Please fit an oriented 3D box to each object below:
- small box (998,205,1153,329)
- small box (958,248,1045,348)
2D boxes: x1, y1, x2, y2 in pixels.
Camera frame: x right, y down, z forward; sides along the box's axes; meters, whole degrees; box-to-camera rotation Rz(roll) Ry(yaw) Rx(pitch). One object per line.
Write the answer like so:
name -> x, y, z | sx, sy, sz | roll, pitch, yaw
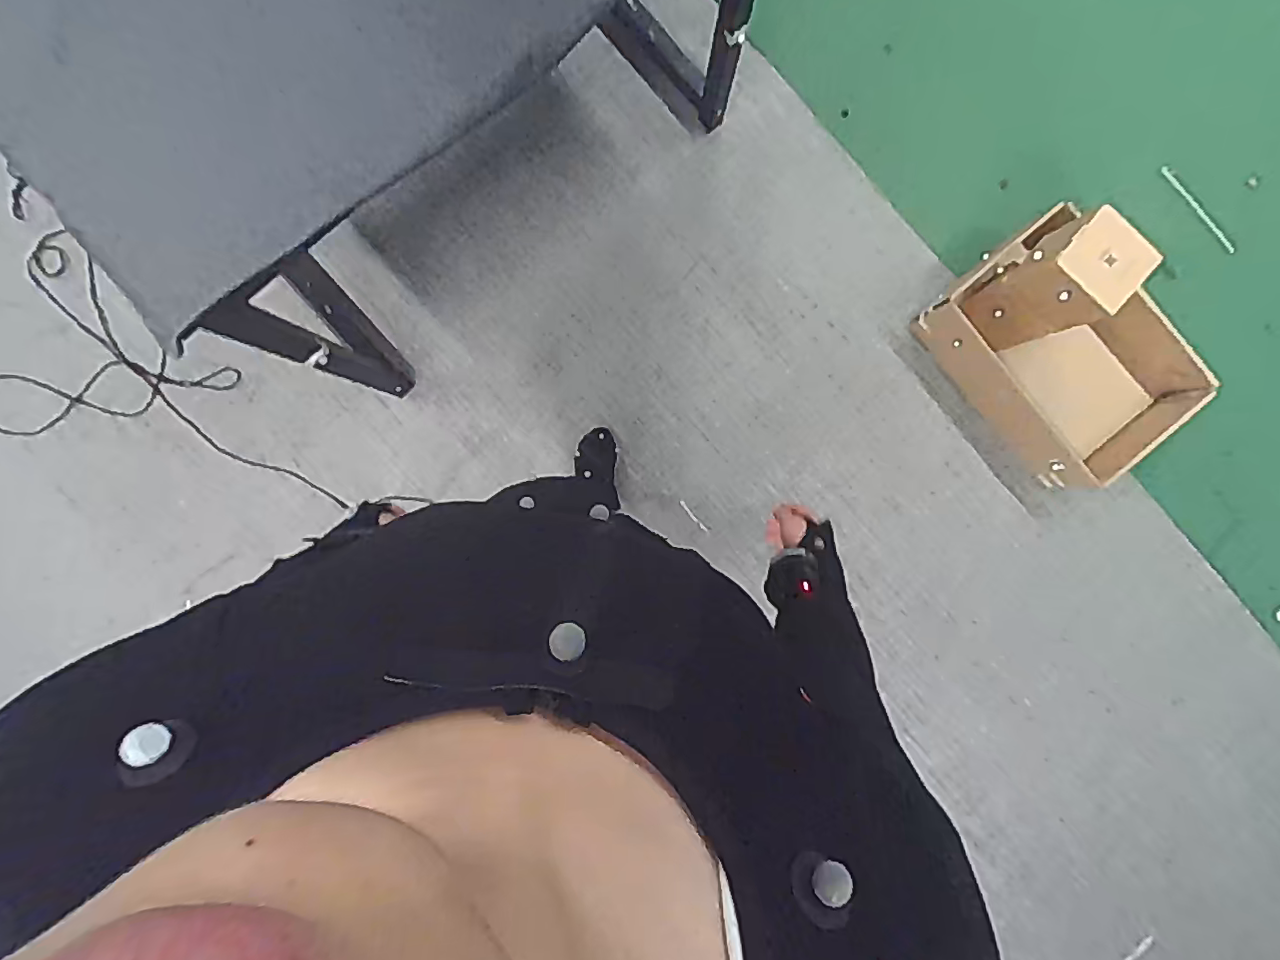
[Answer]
small box -> 0.970, -0.468, 1.222 | 0.179, 0.176, 0.168 | 41, 91, -4
small box -> 0.967, -0.466, 1.387 | 0.168, 0.176, 0.179 | -39, 91, -1
